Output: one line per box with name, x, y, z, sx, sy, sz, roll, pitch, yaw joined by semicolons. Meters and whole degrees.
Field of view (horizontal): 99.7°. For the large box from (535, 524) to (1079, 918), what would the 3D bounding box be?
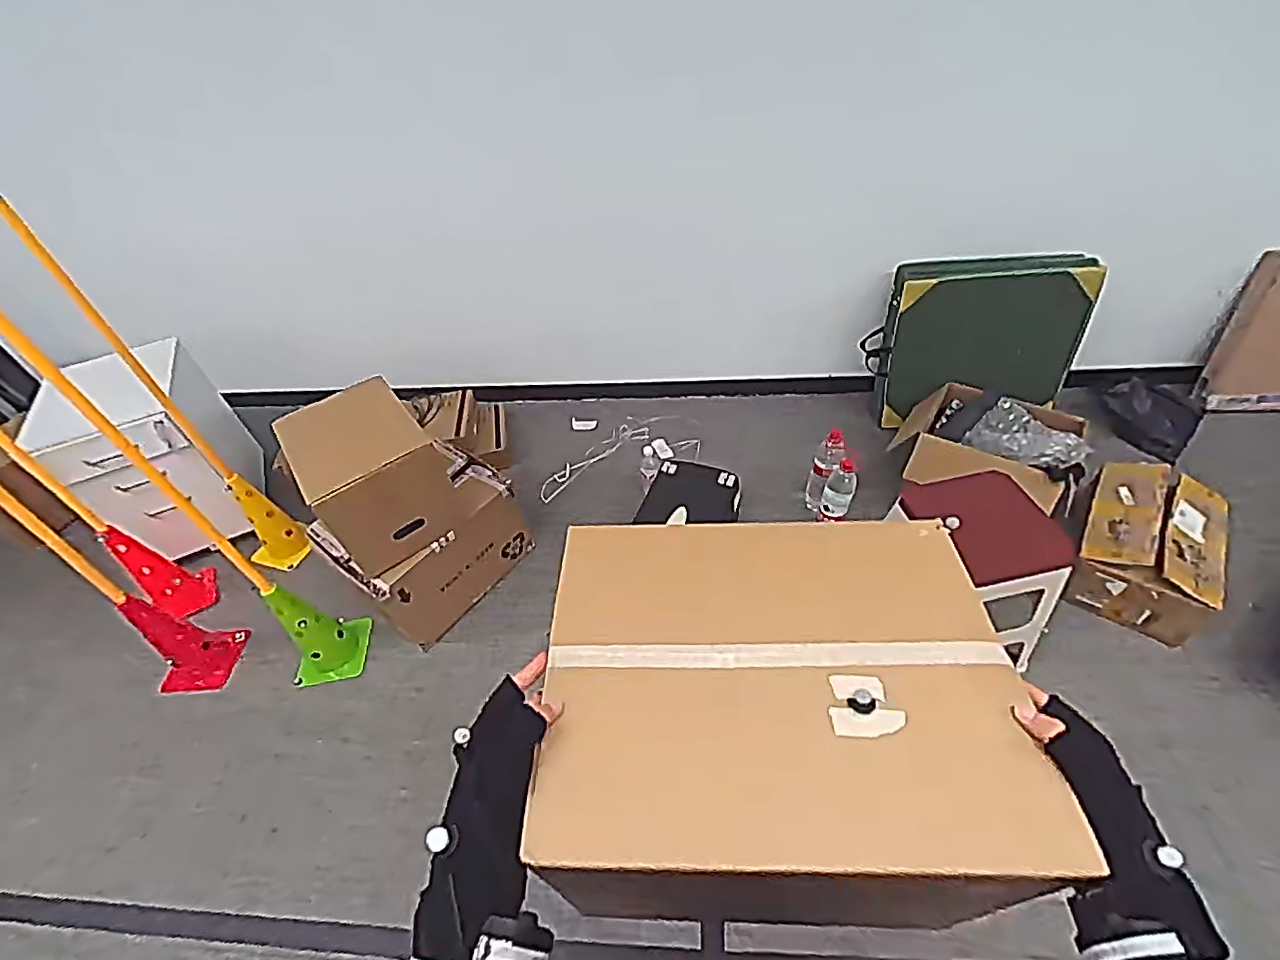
large box;0.126;0.268;0.601;0.408;0.320;0.320;-2;45;3
